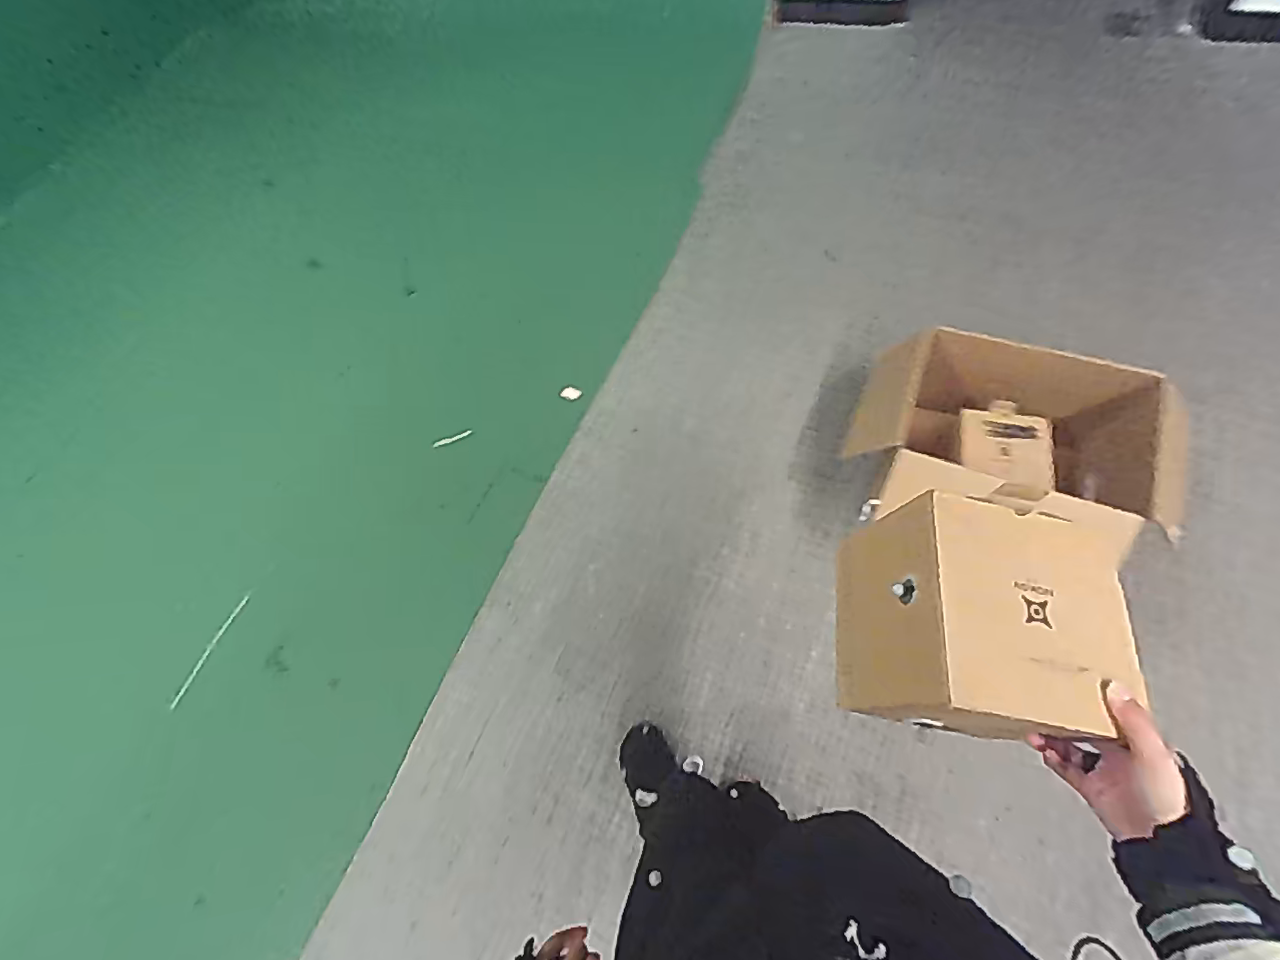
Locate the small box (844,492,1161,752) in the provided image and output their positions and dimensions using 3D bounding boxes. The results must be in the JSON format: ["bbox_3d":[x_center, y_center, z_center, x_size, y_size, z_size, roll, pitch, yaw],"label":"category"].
[{"bbox_3d":[0.304,0.137,0.498,0.168,0.176,0.179,13,64,-4],"label":"small box"}]
